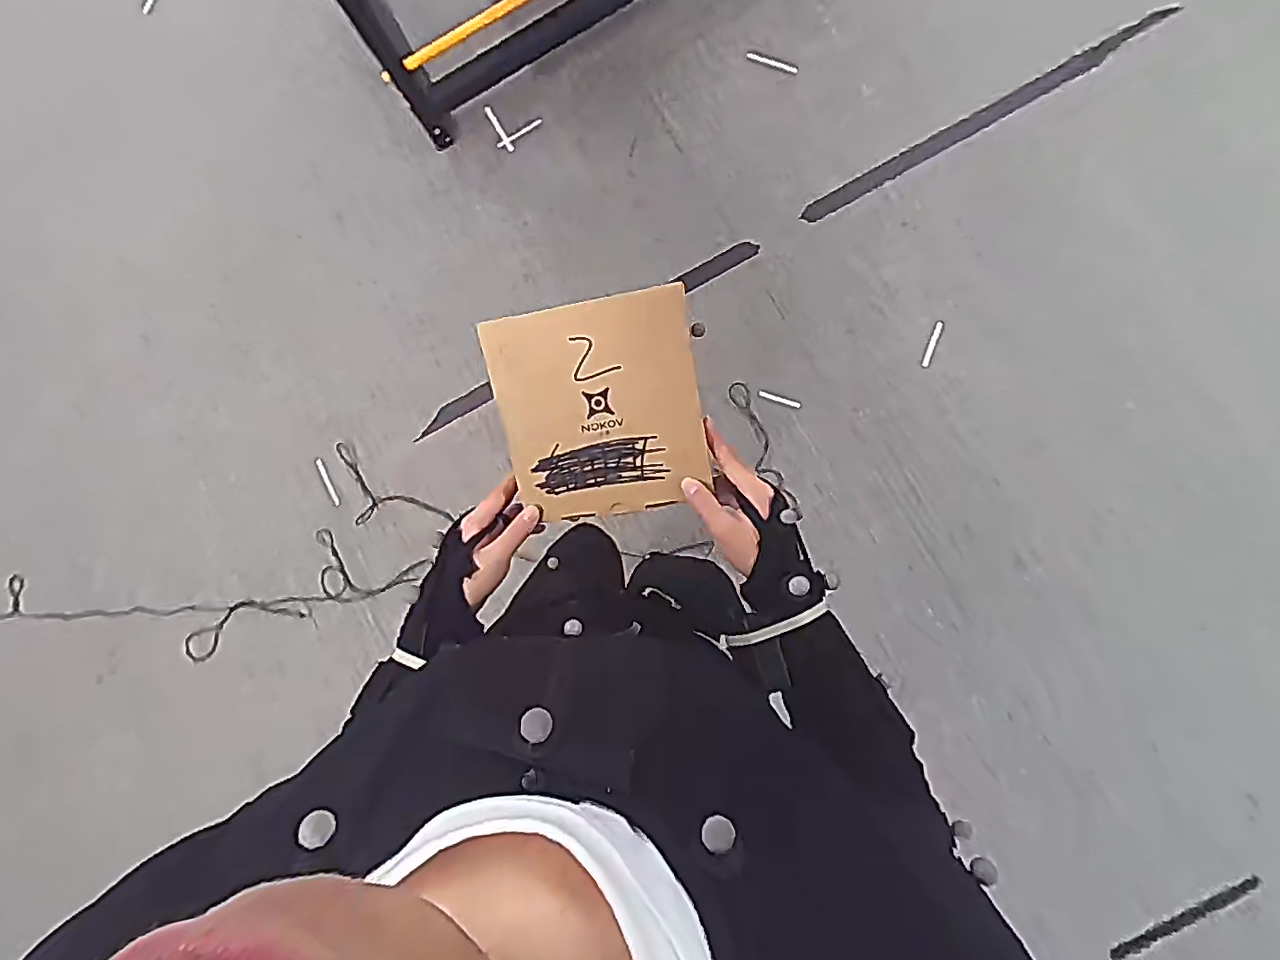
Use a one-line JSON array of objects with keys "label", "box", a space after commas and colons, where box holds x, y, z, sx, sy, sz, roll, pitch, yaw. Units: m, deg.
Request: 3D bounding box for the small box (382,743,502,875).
[{"label": "small box", "box": [-0.459, 0.766, 1.278, 0.179, 0.176, 0.168, -35, 84, 1]}]
